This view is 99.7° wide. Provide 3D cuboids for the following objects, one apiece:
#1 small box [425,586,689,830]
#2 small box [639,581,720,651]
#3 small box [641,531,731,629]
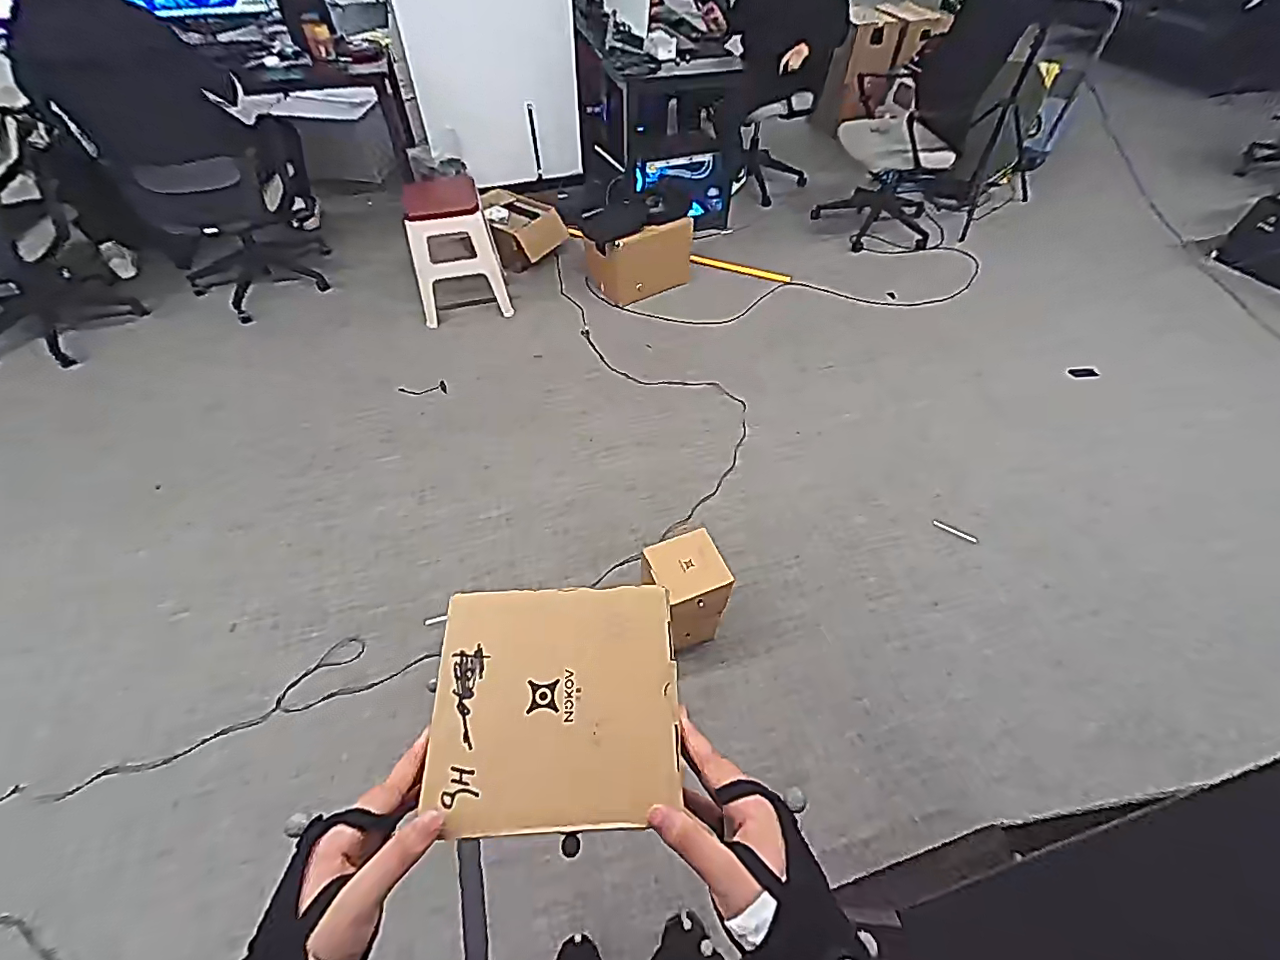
[{"bbox_3d":[-0.060,0.200,0.466,0.179,0.176,0.168,-1,56,-3],"label":"small box"},{"bbox_3d":[0.103,0.366,1.507,0.179,0.176,0.168,-16,54,-12],"label":"small box"},{"bbox_3d":[0.111,0.263,1.381,0.179,0.176,0.168,-18,55,-15],"label":"small box"}]
